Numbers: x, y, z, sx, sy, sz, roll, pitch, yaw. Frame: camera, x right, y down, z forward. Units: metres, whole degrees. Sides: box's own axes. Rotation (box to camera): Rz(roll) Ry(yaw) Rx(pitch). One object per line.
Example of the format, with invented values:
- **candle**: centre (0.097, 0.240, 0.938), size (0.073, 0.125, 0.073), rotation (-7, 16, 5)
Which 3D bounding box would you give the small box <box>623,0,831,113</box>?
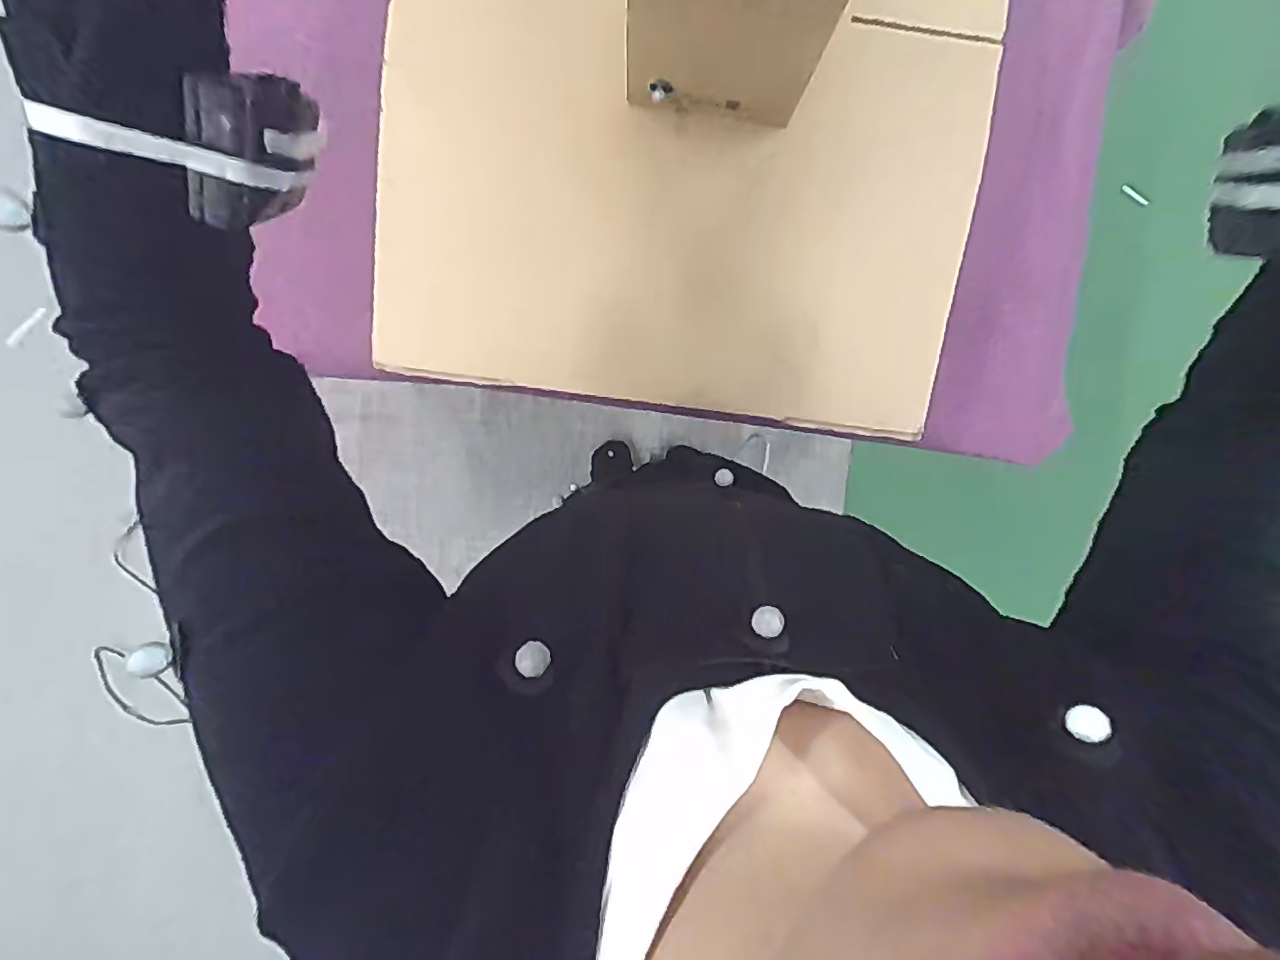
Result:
- **small box**: centre (0.077, -0.452, 0.456), size (0.168, 0.176, 0.179), rotation (7, 92, -2)
